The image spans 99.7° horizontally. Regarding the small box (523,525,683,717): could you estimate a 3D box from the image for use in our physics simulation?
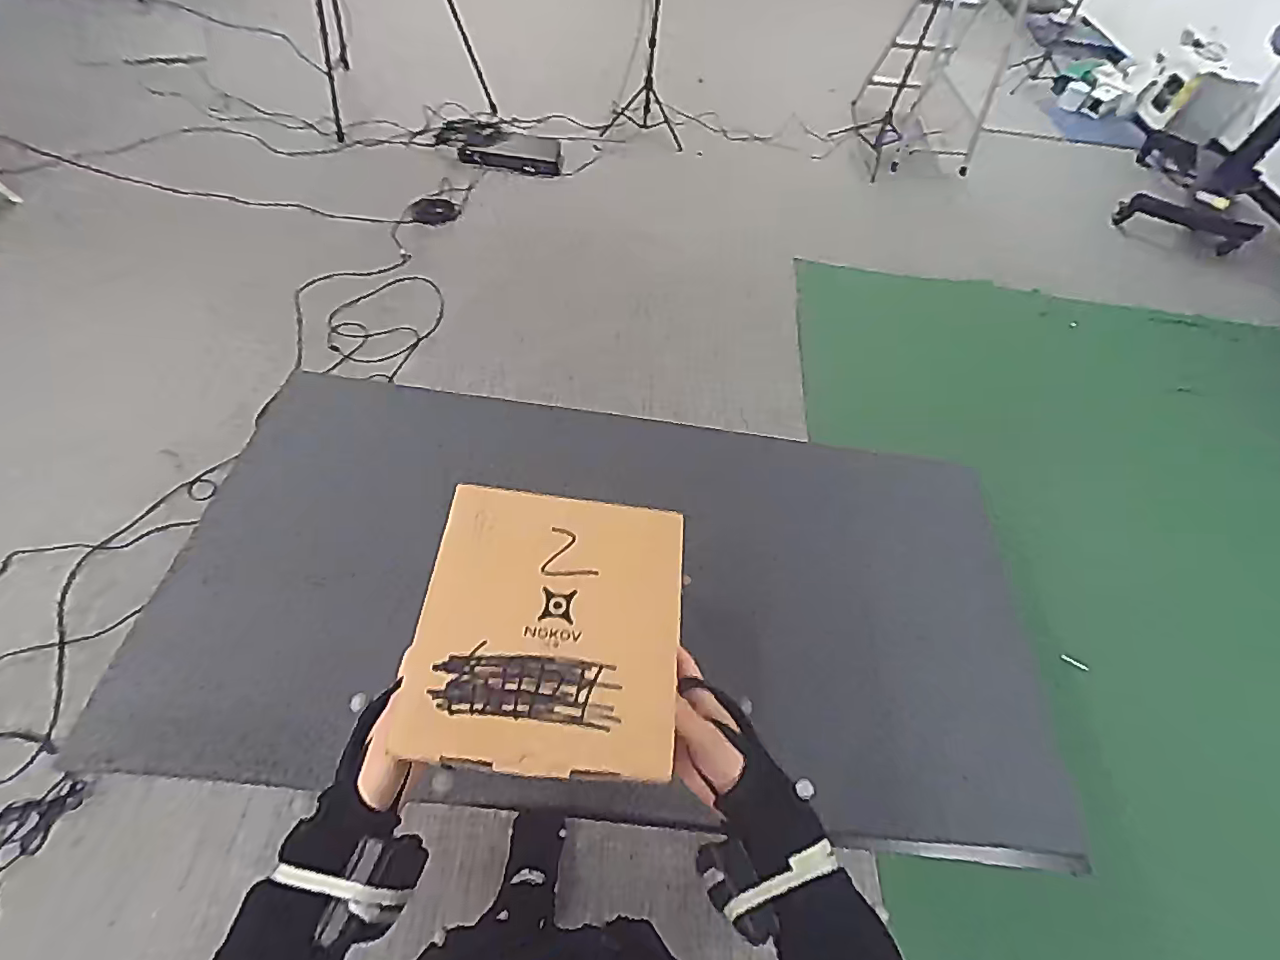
[{"bbox_3d":[-0.044,0.179,0.673,0.168,0.176,0.179,6,56,-3],"label":"small box"}]
